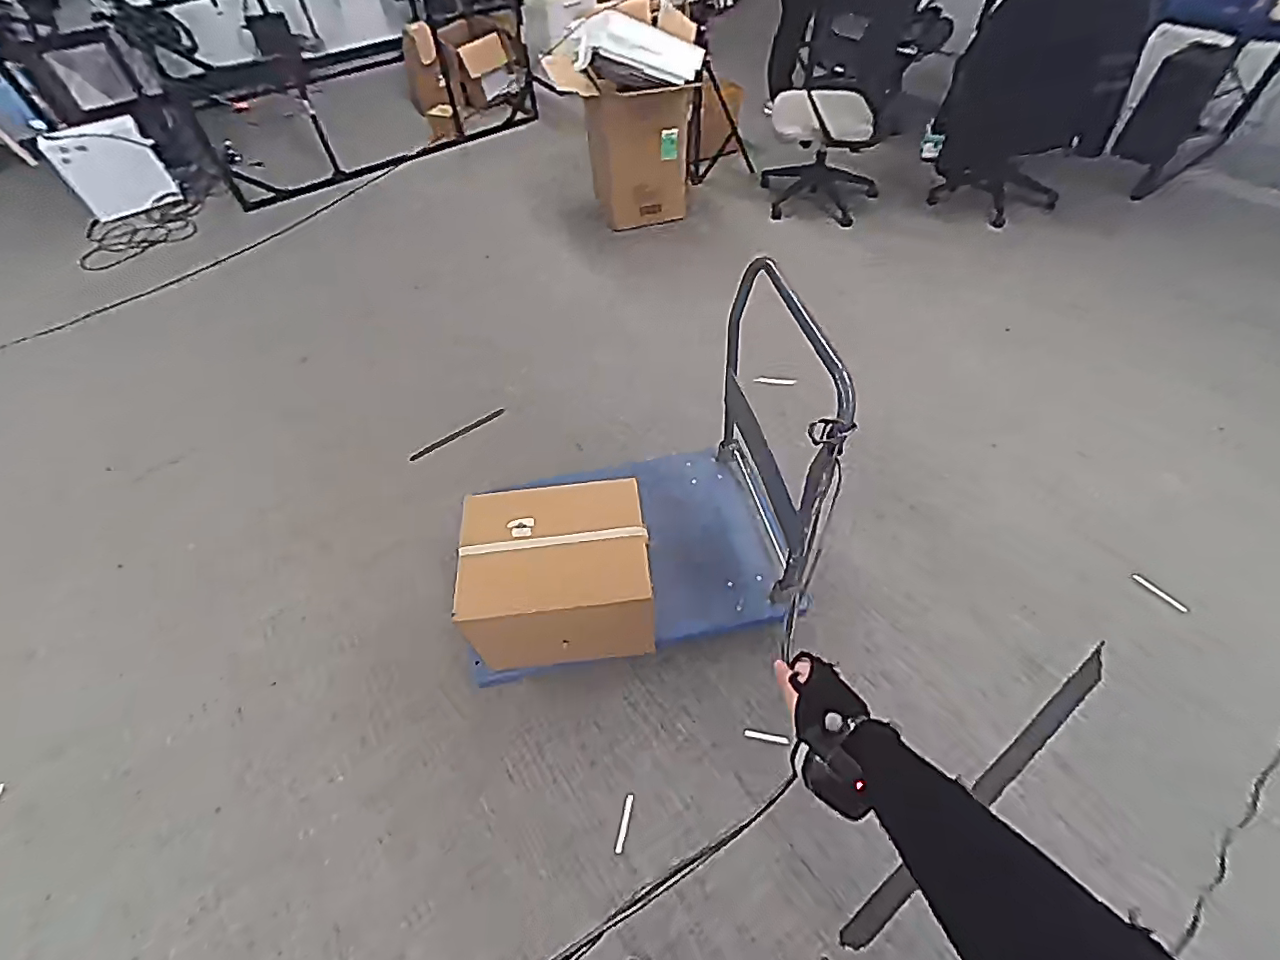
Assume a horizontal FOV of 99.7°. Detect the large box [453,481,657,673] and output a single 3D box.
[{"bbox_3d":[-0.182,0.237,1.280,0.408,0.320,0.320,-7,52,-2],"label":"large box"}]
